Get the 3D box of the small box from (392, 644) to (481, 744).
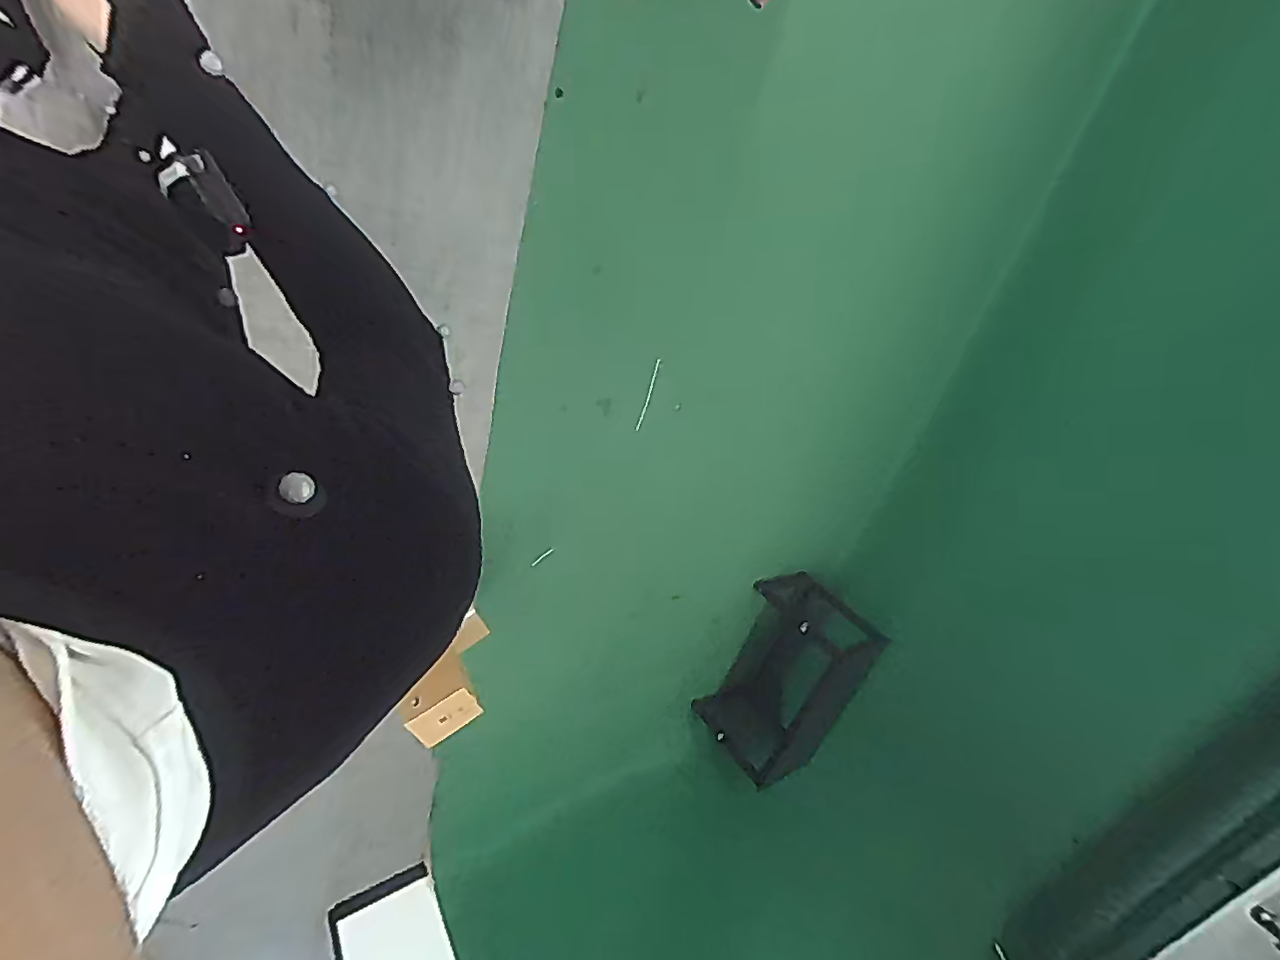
[{"bbox_3d":[-0.593,0.614,1.561,0.179,0.176,0.168,-30,137,-20],"label":"small box"}]
